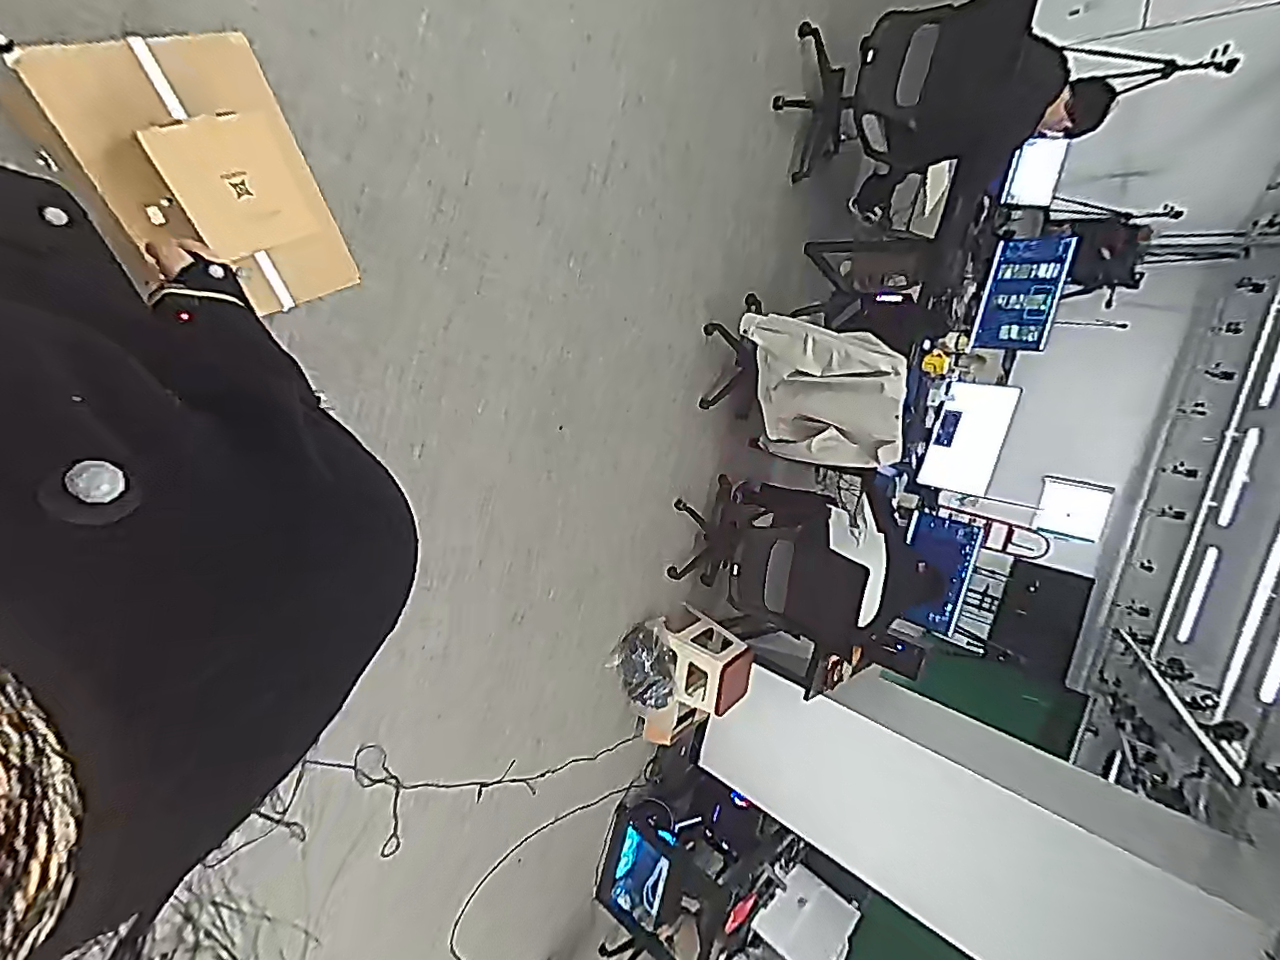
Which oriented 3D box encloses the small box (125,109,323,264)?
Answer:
[{"bbox_3d":[-0.652,-0.454,0.851,0.168,0.176,0.179,-42,134,-31],"label":"small box"}]
